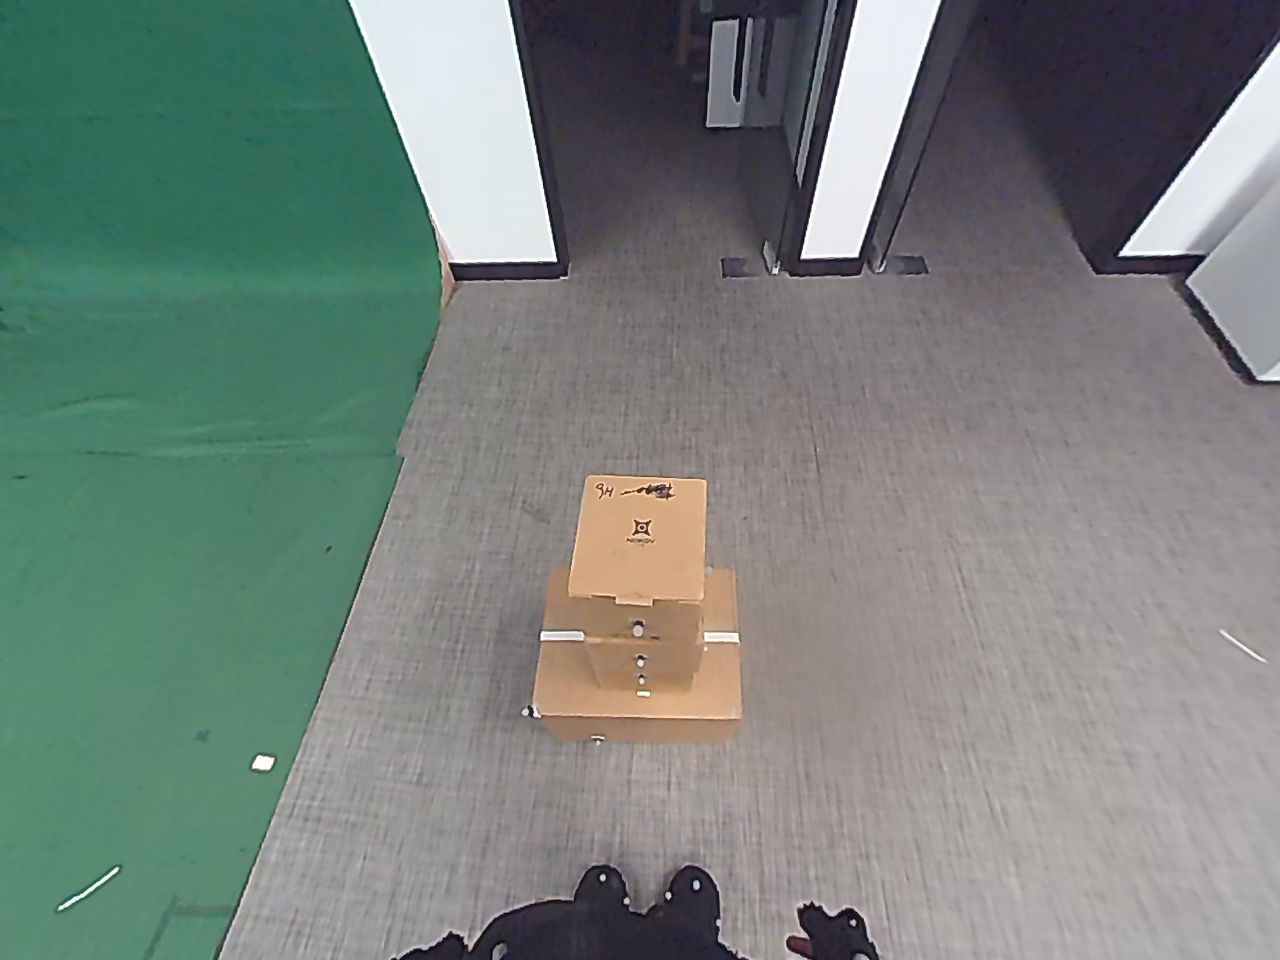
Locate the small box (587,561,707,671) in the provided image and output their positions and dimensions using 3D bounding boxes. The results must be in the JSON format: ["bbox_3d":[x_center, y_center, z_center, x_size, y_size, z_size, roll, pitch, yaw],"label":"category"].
[{"bbox_3d":[0.011,0.210,0.887,0.179,0.176,0.168,-2,58,1],"label":"small box"}]

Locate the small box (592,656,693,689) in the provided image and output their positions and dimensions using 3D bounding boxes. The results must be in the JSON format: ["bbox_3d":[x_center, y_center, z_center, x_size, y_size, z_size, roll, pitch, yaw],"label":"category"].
[{"bbox_3d":[0.011,0.293,1.028,0.179,0.176,0.168,2,58,3],"label":"small box"}]

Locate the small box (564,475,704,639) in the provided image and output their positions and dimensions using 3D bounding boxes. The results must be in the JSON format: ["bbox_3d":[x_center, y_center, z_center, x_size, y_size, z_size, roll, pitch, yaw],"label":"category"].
[{"bbox_3d":[0.002,0.113,0.755,0.168,0.176,0.179,3,58,6],"label":"small box"}]
